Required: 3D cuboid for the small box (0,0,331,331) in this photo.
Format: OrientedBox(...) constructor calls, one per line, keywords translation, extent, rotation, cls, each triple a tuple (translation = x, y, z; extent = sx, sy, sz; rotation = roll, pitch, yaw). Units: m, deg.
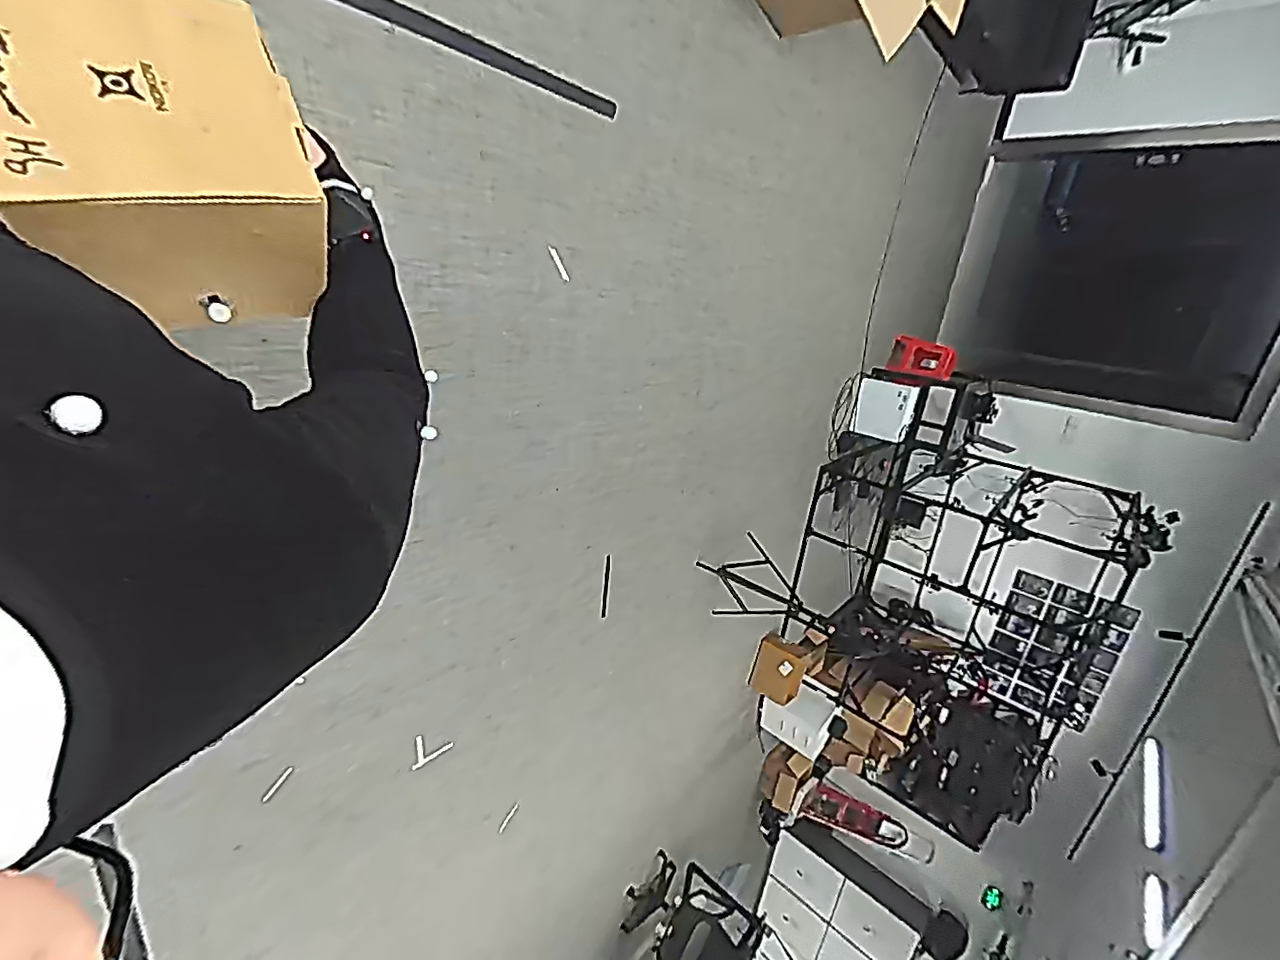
OrientedBox(translation=(-0.373, -0.240, 0.436), extent=(0.179, 0.176, 0.168), rotation=(-20, 86, -34), cls="small box")
